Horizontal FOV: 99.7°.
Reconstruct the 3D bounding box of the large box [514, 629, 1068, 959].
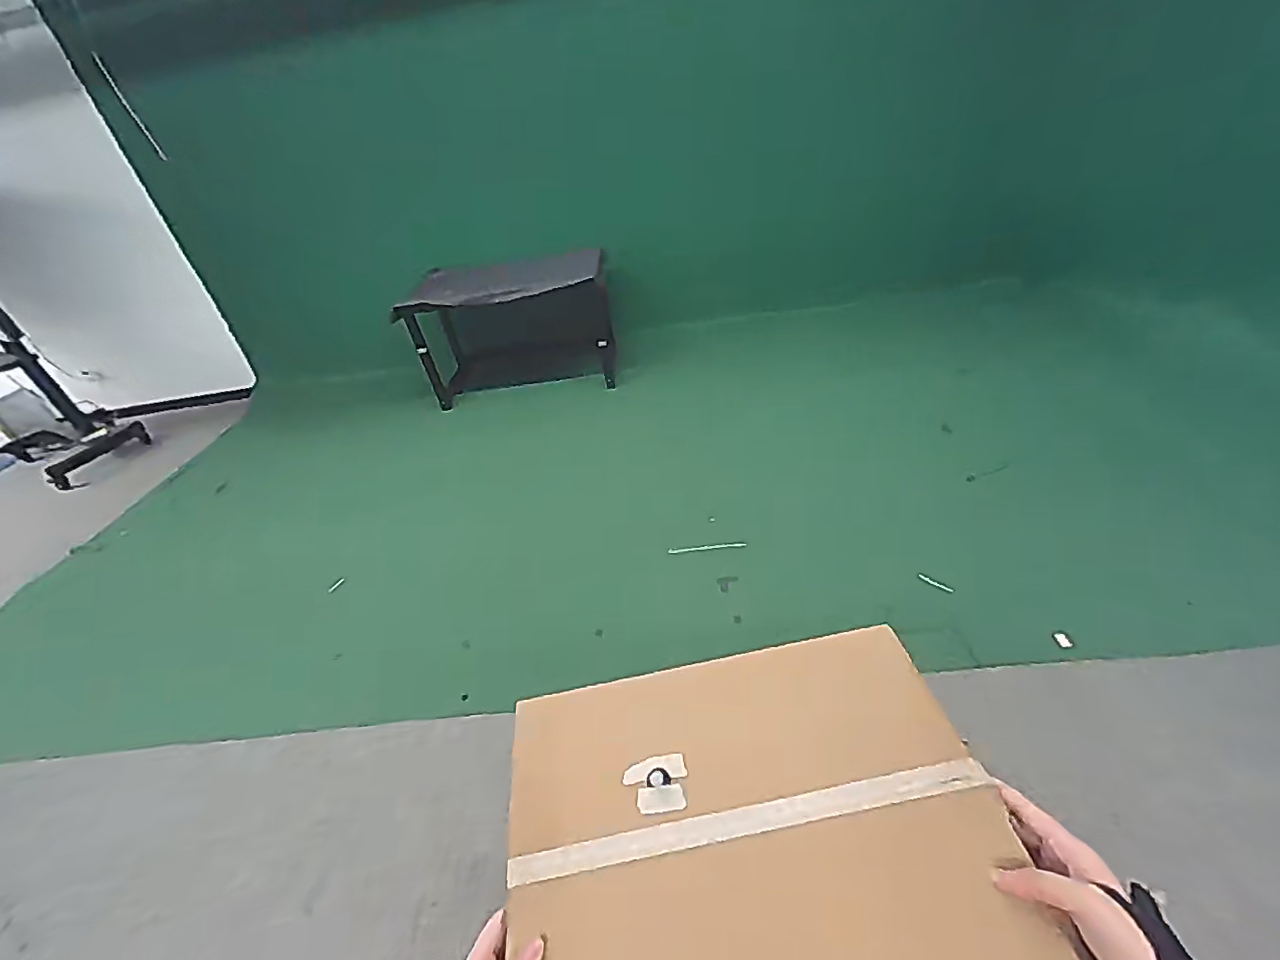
[{"bbox_3d":[0.115,0.411,0.563,0.408,0.320,0.320,-13,39,1],"label":"large box"}]
